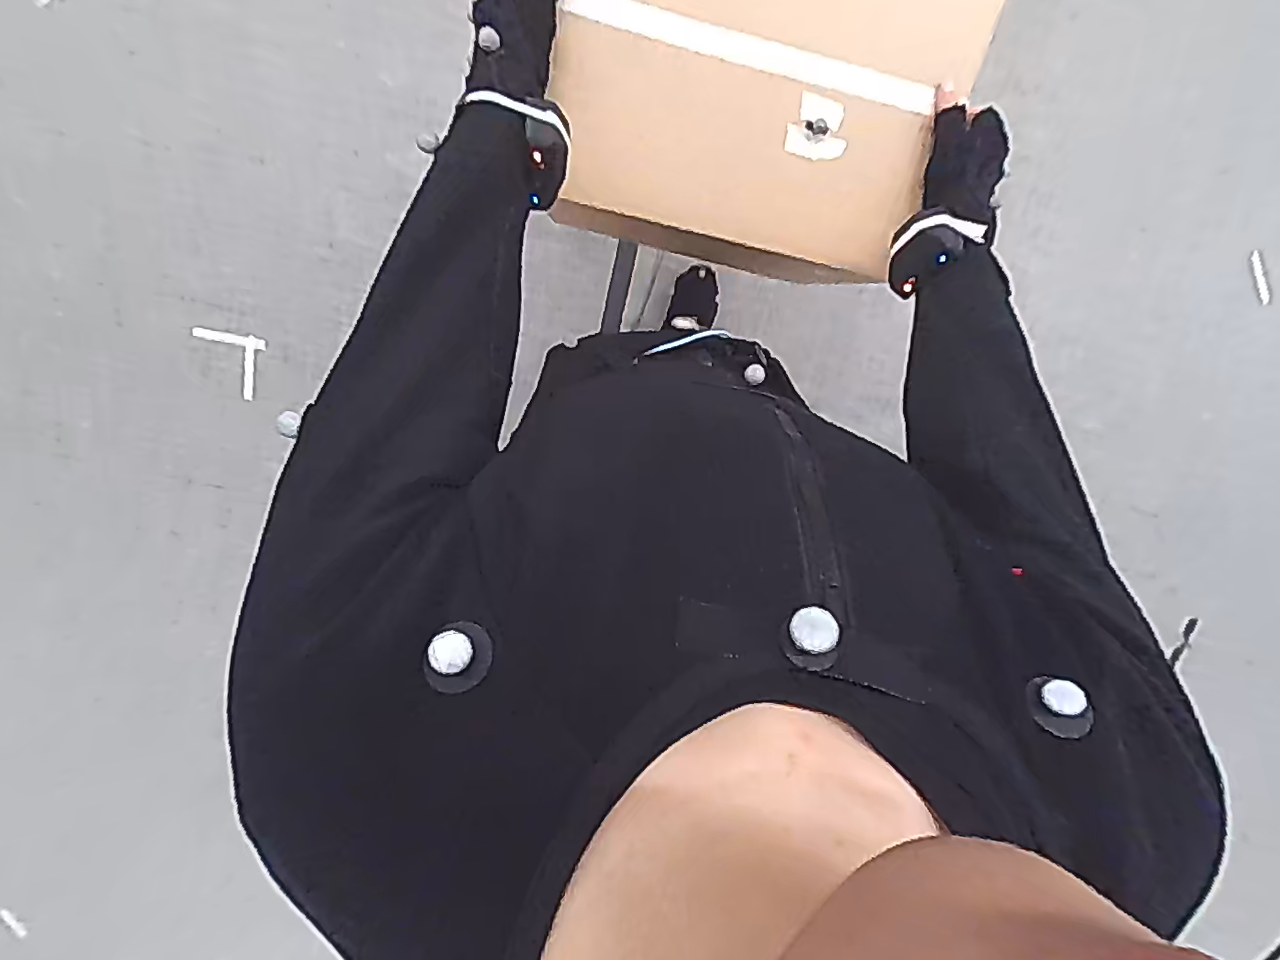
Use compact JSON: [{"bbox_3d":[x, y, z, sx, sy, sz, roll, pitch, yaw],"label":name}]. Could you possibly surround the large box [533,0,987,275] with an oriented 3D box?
[{"bbox_3d":[0.103,-0.451,0.652,0.408,0.320,0.320,10,110,-8],"label":"large box"}]
